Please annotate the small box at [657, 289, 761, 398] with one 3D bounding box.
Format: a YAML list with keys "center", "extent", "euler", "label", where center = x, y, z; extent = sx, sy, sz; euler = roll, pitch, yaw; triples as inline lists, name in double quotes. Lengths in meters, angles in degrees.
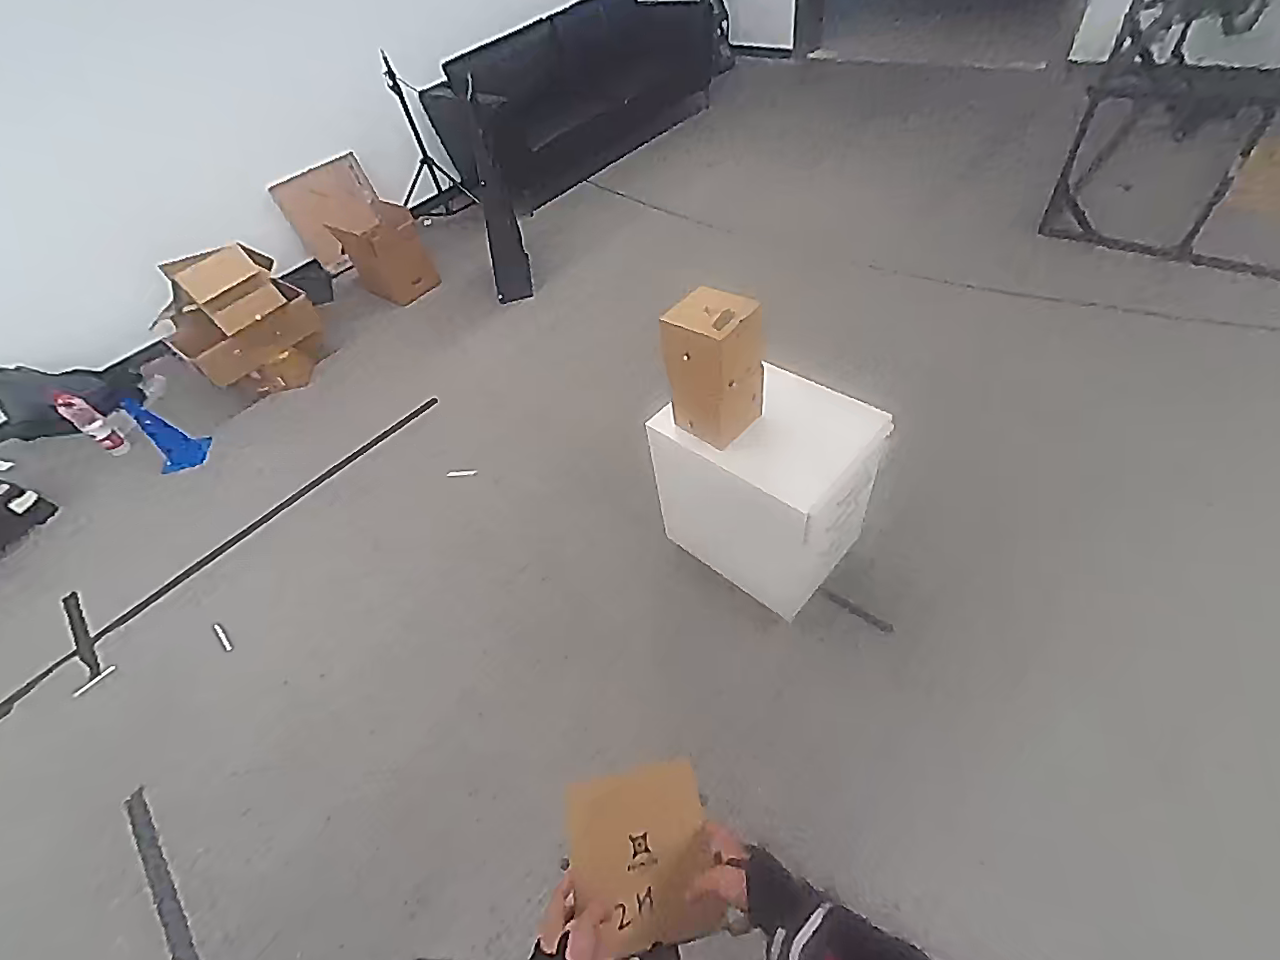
- center: [0.165, -0.316, 1.268]
  extent: [0.179, 0.176, 0.168]
  euler: [29, 59, 32]
  label: "small box"

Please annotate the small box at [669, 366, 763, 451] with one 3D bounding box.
- center: [0.193, -0.208, 1.388]
  extent: [0.168, 0.176, 0.179]
  euler: [34, 63, 32]
  label: "small box"

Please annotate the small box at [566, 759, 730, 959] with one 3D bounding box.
- center: [0.001, 0.483, 0.692]
  extent: [0.168, 0.176, 0.179]
  euler: [-9, 55, -8]
  label: "small box"
